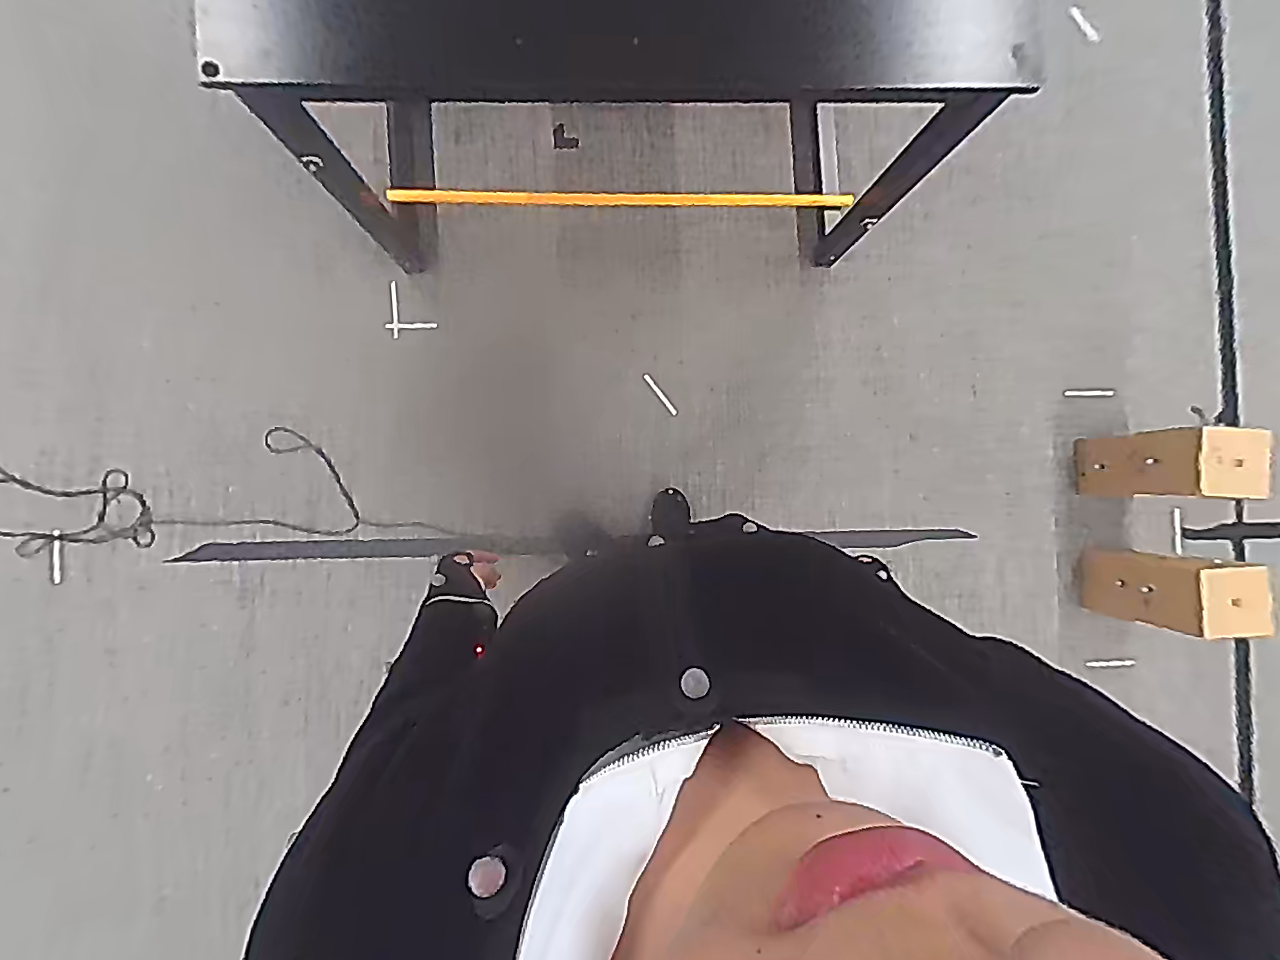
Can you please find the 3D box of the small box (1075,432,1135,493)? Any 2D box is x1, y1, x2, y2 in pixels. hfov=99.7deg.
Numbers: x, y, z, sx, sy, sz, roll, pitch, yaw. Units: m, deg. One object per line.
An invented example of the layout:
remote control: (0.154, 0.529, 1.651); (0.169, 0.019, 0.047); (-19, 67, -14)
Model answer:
small box: (1.367, -0.048, 1.520); (0.179, 0.176, 0.168); (-3, 90, -3)

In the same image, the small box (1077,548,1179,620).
small box: (1.380, 0.287, 1.523); (0.168, 0.176, 0.179); (1, 91, -4)

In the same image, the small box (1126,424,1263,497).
small box: (1.381, -0.046, 1.355); (0.179, 0.176, 0.168); (3, 89, -4)

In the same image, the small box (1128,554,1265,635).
small box: (1.392, 0.282, 1.361); (0.179, 0.176, 0.168); (-4, 89, -2)
